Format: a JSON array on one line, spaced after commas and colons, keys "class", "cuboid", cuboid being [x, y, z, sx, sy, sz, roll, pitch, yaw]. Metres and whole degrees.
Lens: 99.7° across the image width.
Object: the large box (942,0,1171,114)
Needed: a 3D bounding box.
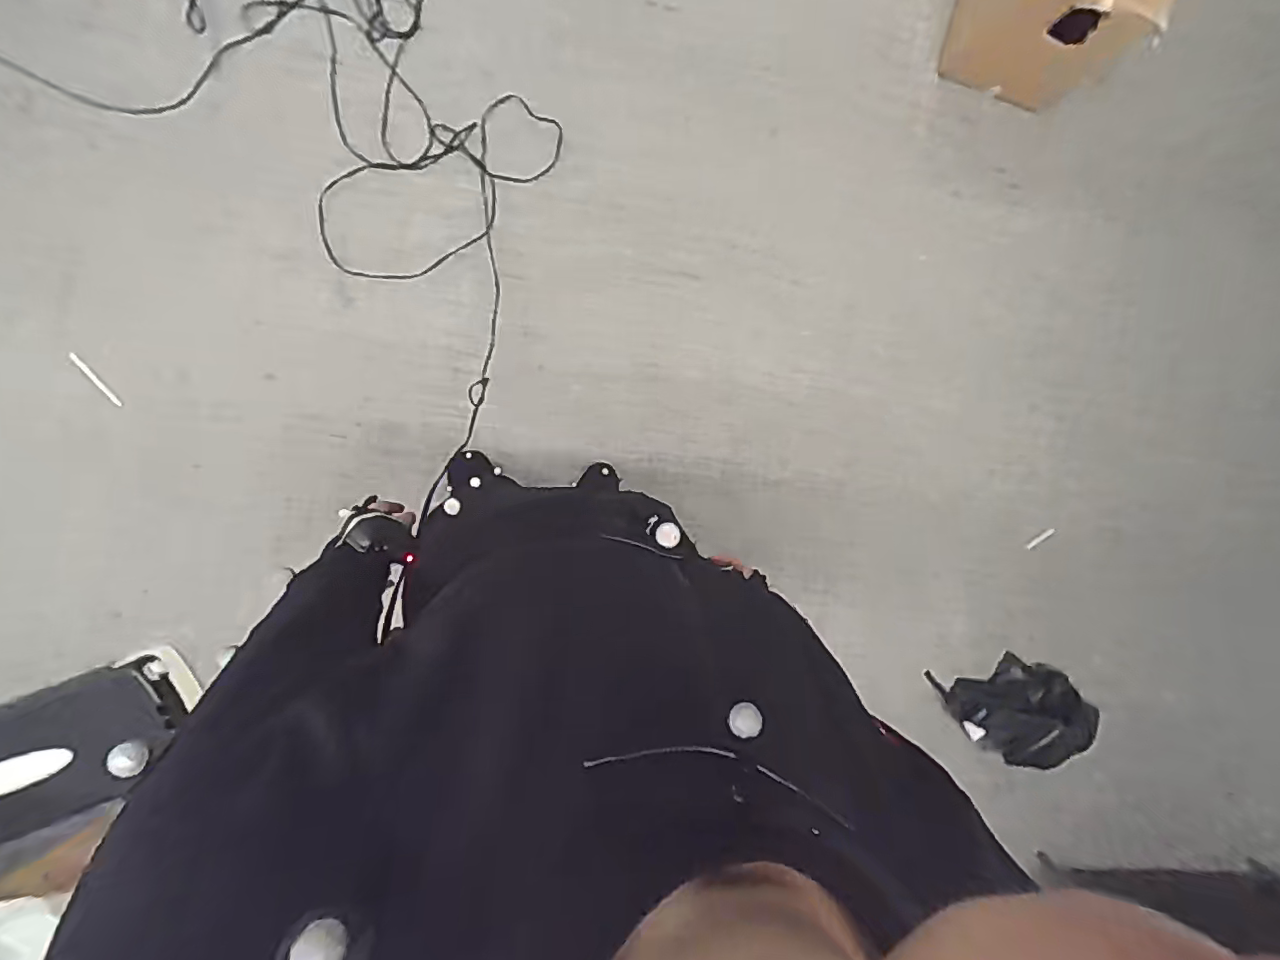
[{"class": "large box", "cuboid": [0.977, -1.174, 1.251, 0.320, 0.320, 0.408, 12, 95, -8]}]
